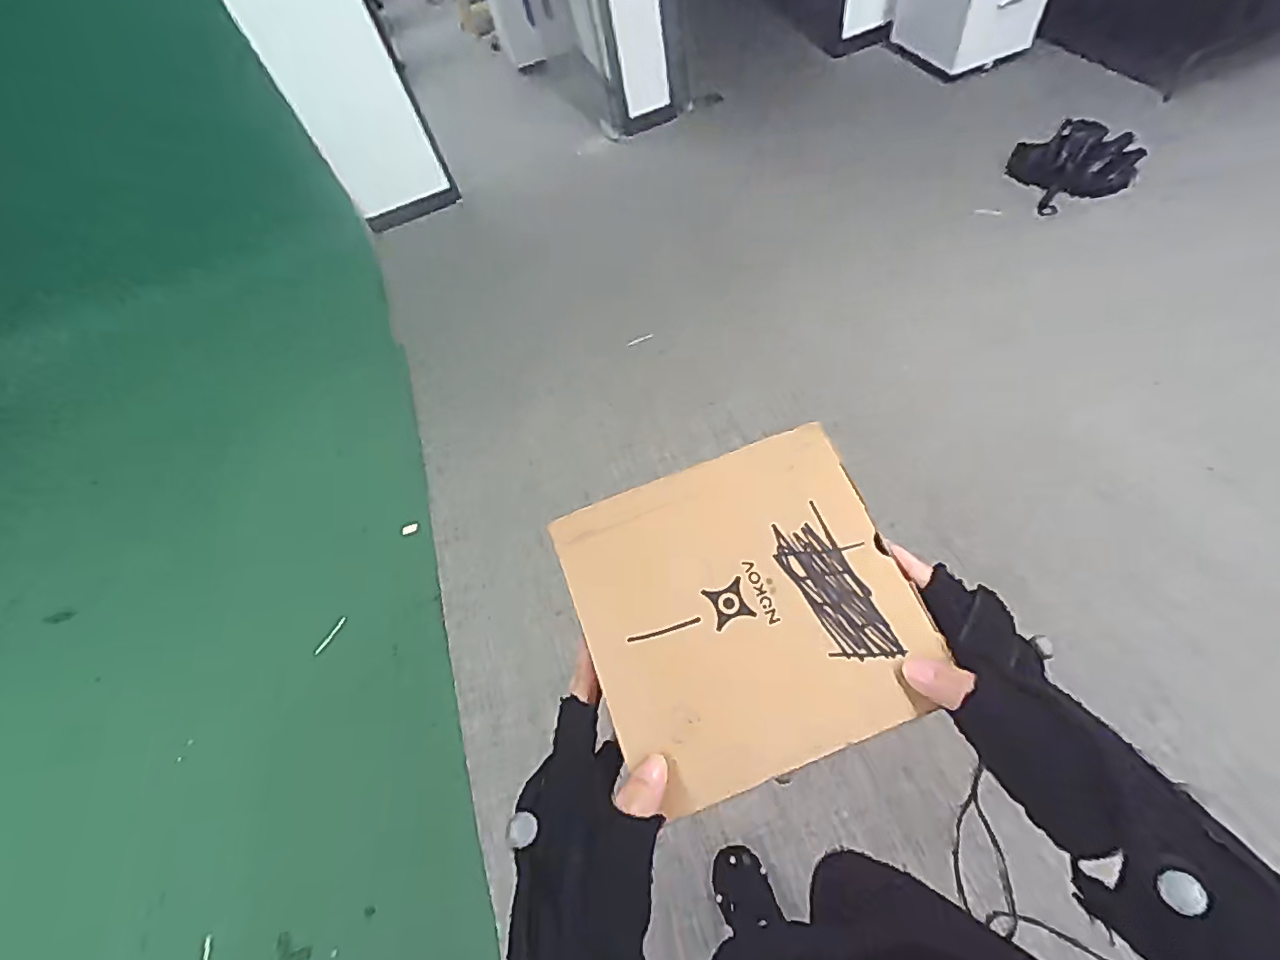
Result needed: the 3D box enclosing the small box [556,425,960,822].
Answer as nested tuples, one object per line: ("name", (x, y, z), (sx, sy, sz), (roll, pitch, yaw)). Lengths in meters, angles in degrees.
("small box", (0.060, 0.094, 0.372), (0.179, 0.176, 0.168), (-22, 69, -7))
